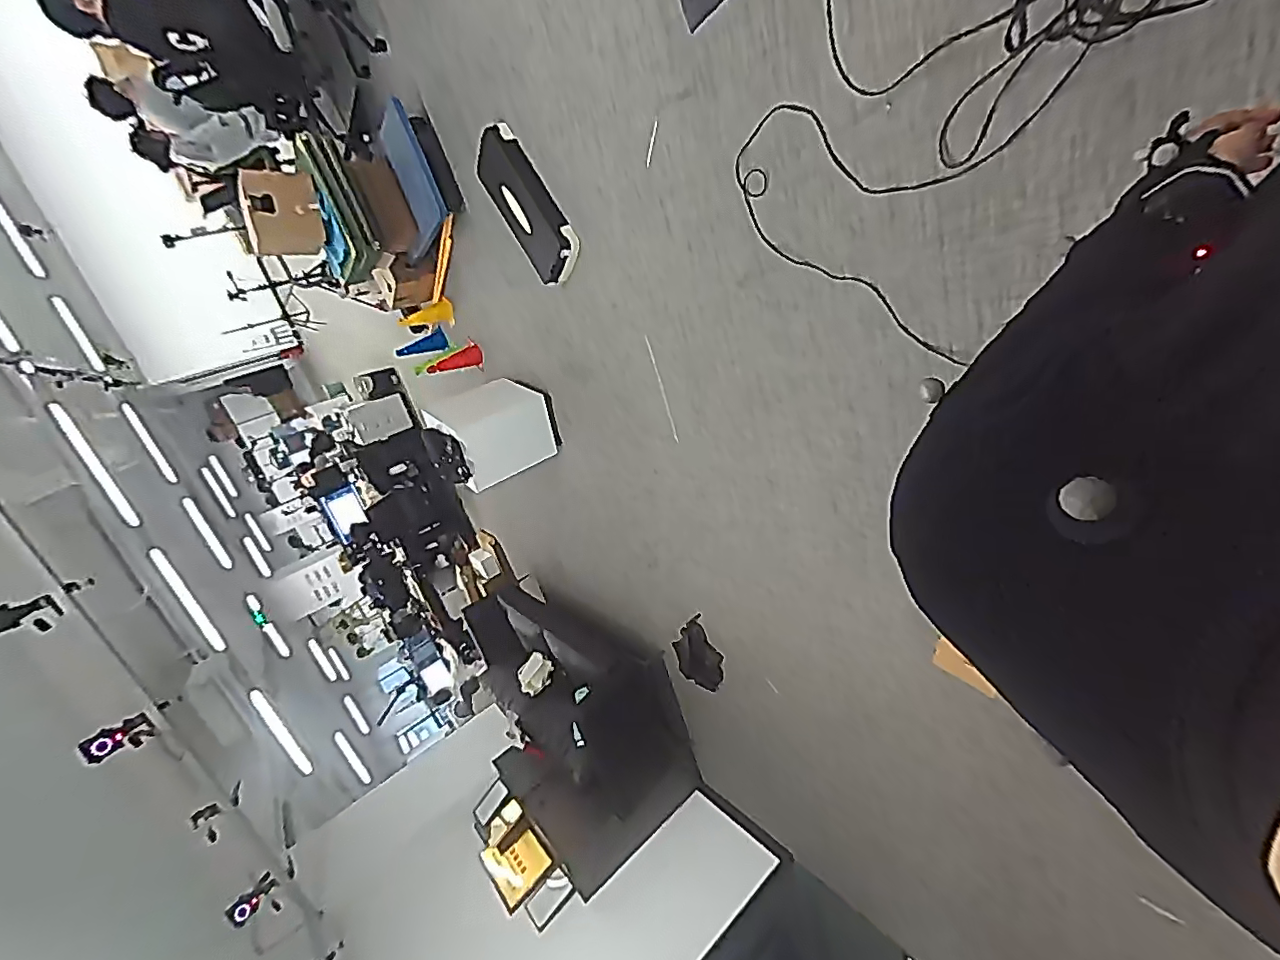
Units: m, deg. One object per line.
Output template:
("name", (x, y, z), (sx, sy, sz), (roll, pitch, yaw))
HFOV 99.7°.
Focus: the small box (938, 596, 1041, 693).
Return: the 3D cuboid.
("small box", (0.994, 0.458, 1.542), (0.179, 0.176, 0.168), (30, 140, 41))
